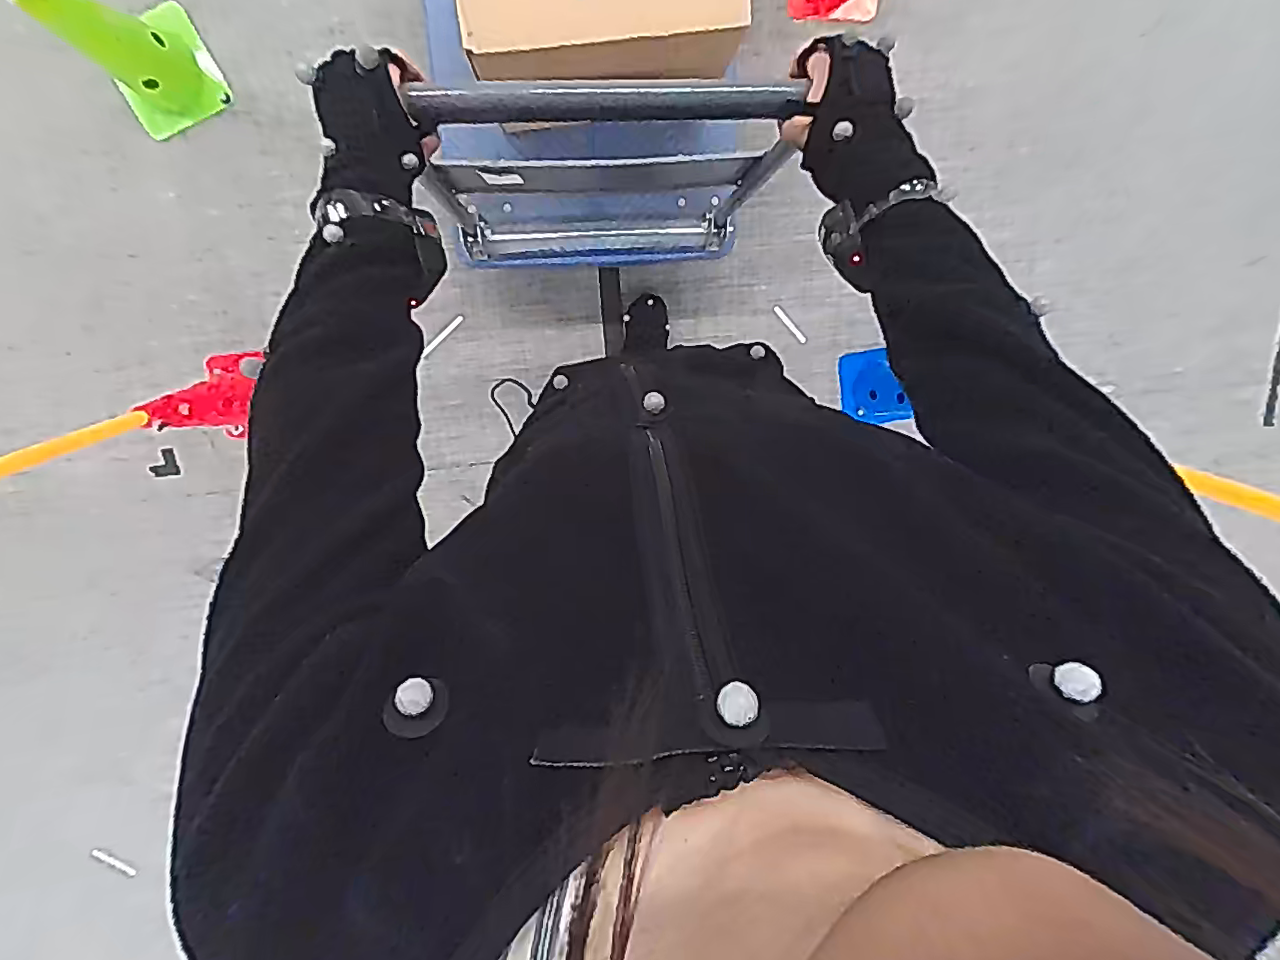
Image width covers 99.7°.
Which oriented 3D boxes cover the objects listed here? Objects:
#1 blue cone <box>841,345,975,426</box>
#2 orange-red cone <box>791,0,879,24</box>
[{"bbox_3d":[0.639,-0.205,1.258,0.193,0.380,0.192,-9,105,-3],"label":"blue cone"},{"bbox_3d":[0.445,-1.056,0.996,0.199,0.360,0.198,0,106,-6],"label":"orange-red cone"}]
